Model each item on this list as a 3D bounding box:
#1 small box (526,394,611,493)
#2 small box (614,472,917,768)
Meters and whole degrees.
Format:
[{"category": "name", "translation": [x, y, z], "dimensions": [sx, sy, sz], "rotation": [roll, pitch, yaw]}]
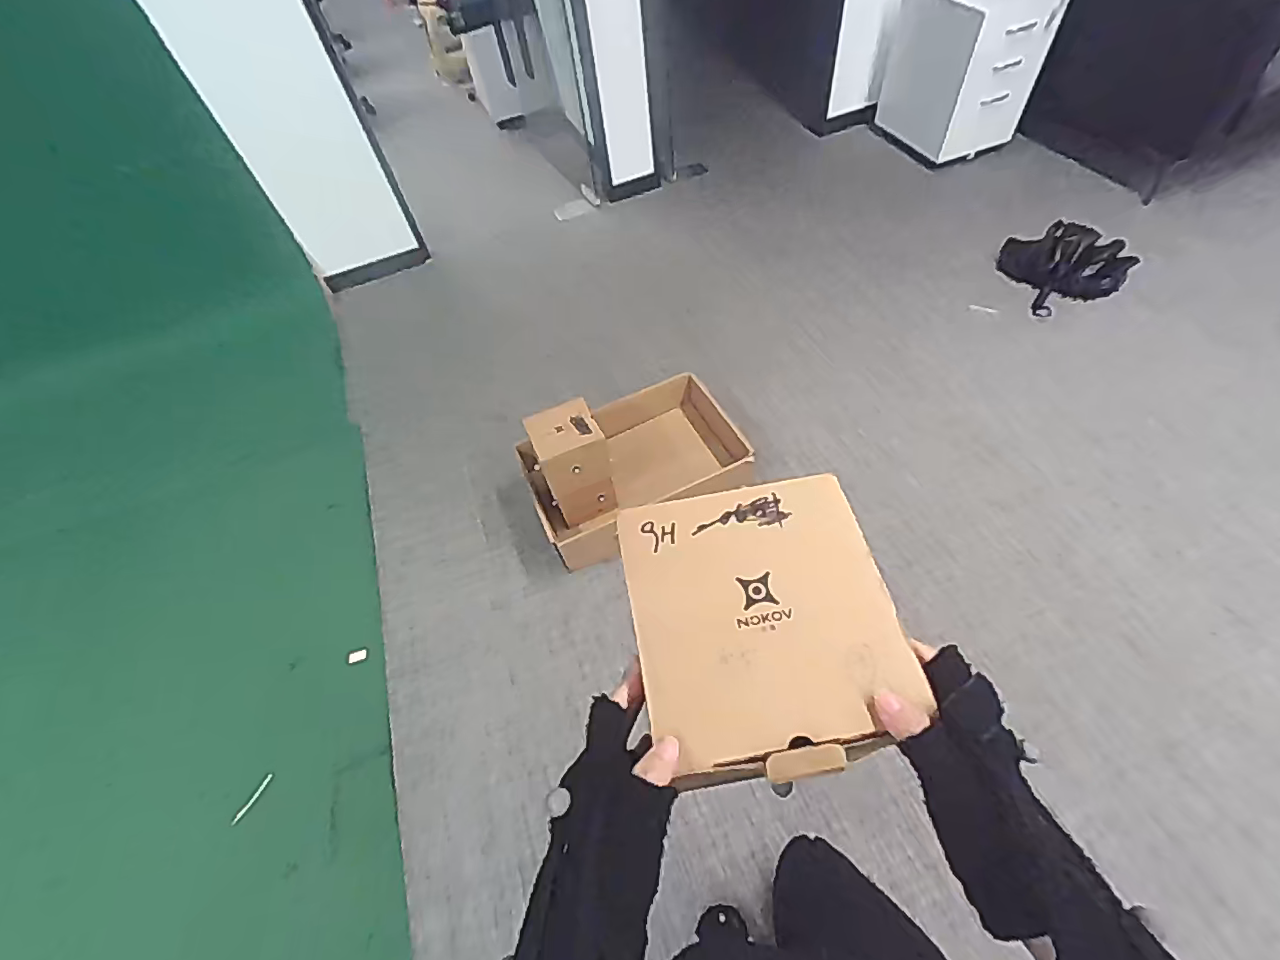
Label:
[{"category": "small box", "translation": [-0.187, -0.096, 1.467], "dimensions": [0.179, 0.176, 0.168], "rotation": [-24, 55, -9]}, {"category": "small box", "translation": [0.080, 0.121, 0.431], "dimensions": [0.168, 0.176, 0.179], "rotation": [-10, 59, -2]}]
